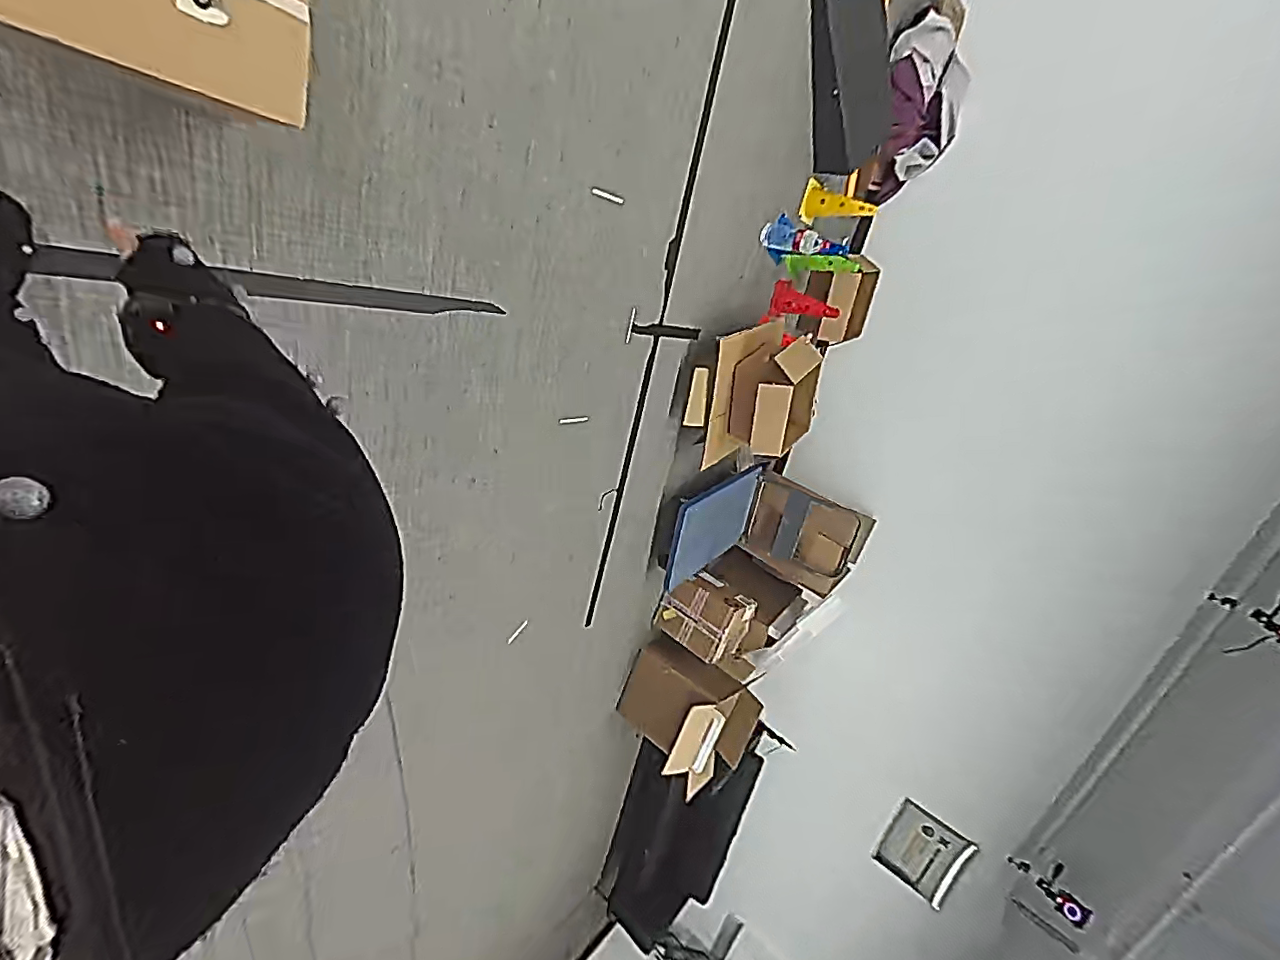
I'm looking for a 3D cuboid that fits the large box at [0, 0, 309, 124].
[{"bbox_3d":[-0.746,-0.748,0.751,0.408,0.320,0.320,-12,123,-53],"label":"large box"}]
